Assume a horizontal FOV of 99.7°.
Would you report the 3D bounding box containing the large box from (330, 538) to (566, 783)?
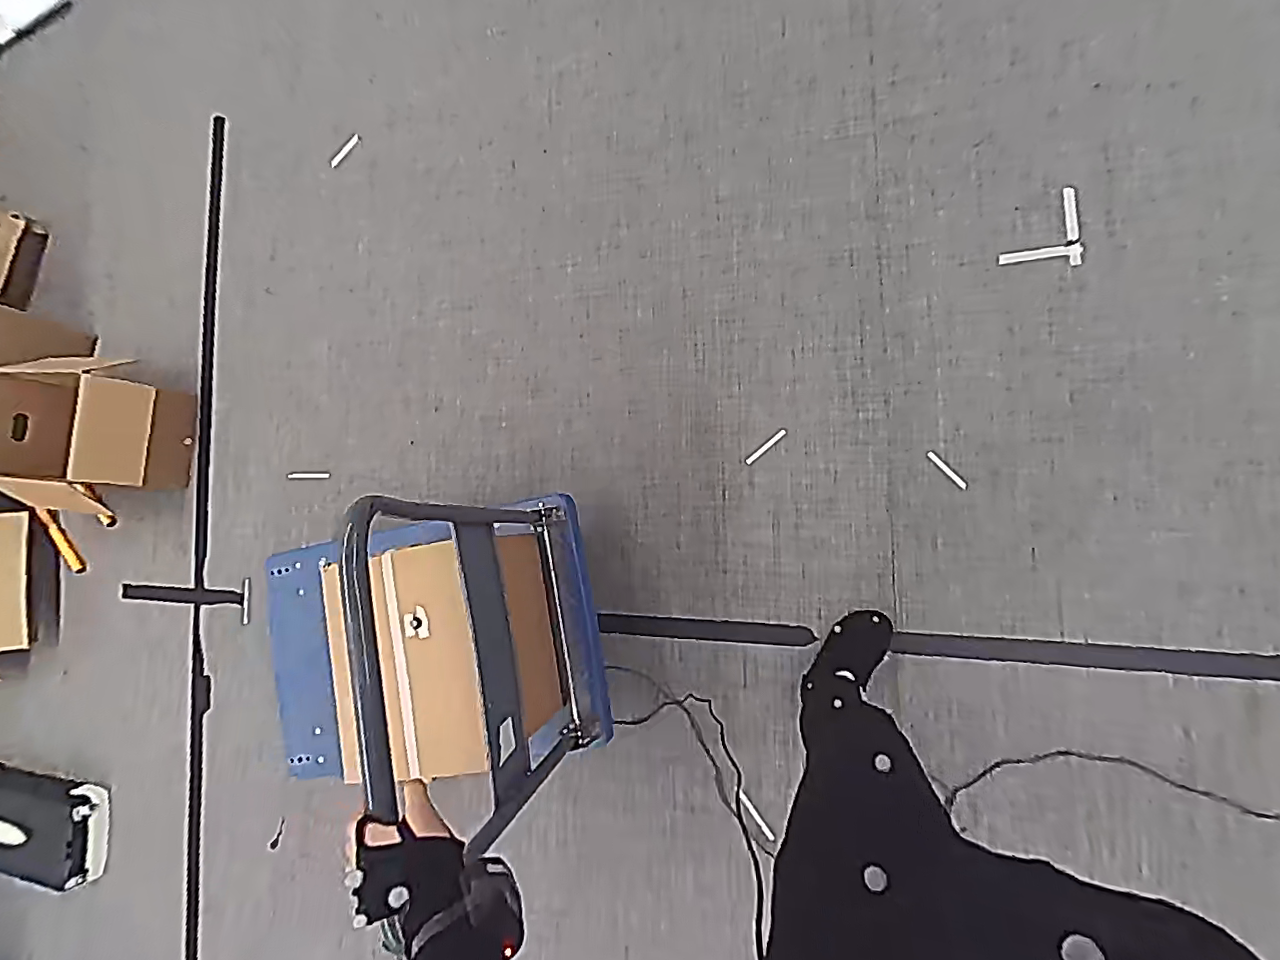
[{"bbox_3d":[-0.381,0.349,1.131,0.320,0.320,0.408,-12,82,12],"label":"large box"}]
